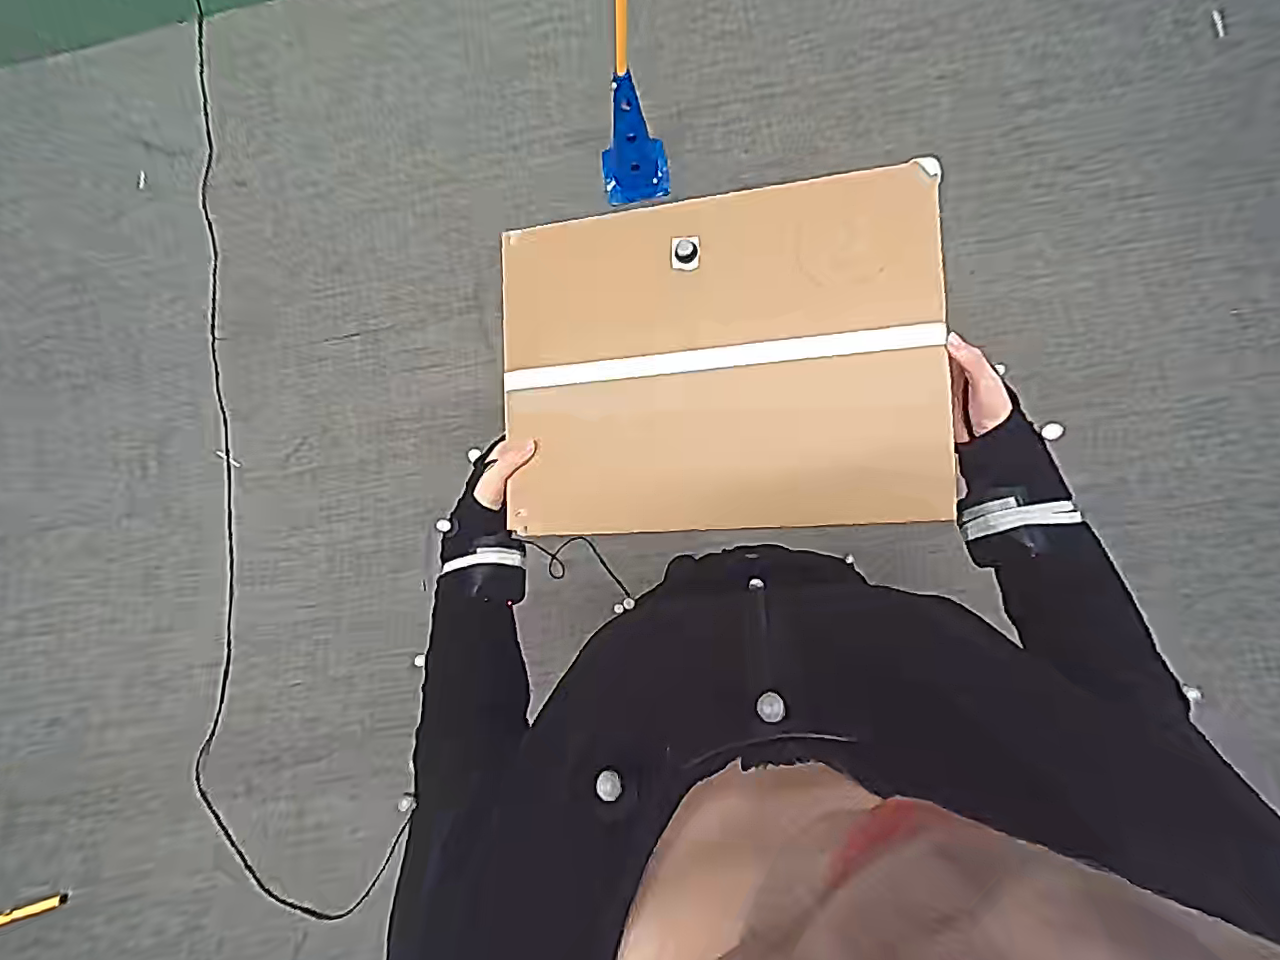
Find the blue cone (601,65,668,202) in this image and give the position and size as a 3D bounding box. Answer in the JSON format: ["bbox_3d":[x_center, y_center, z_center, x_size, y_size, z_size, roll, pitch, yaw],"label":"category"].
[{"bbox_3d":[-0.031,-0.990,1.515,0.193,0.380,0.192,-12,81,2],"label":"blue cone"}]
